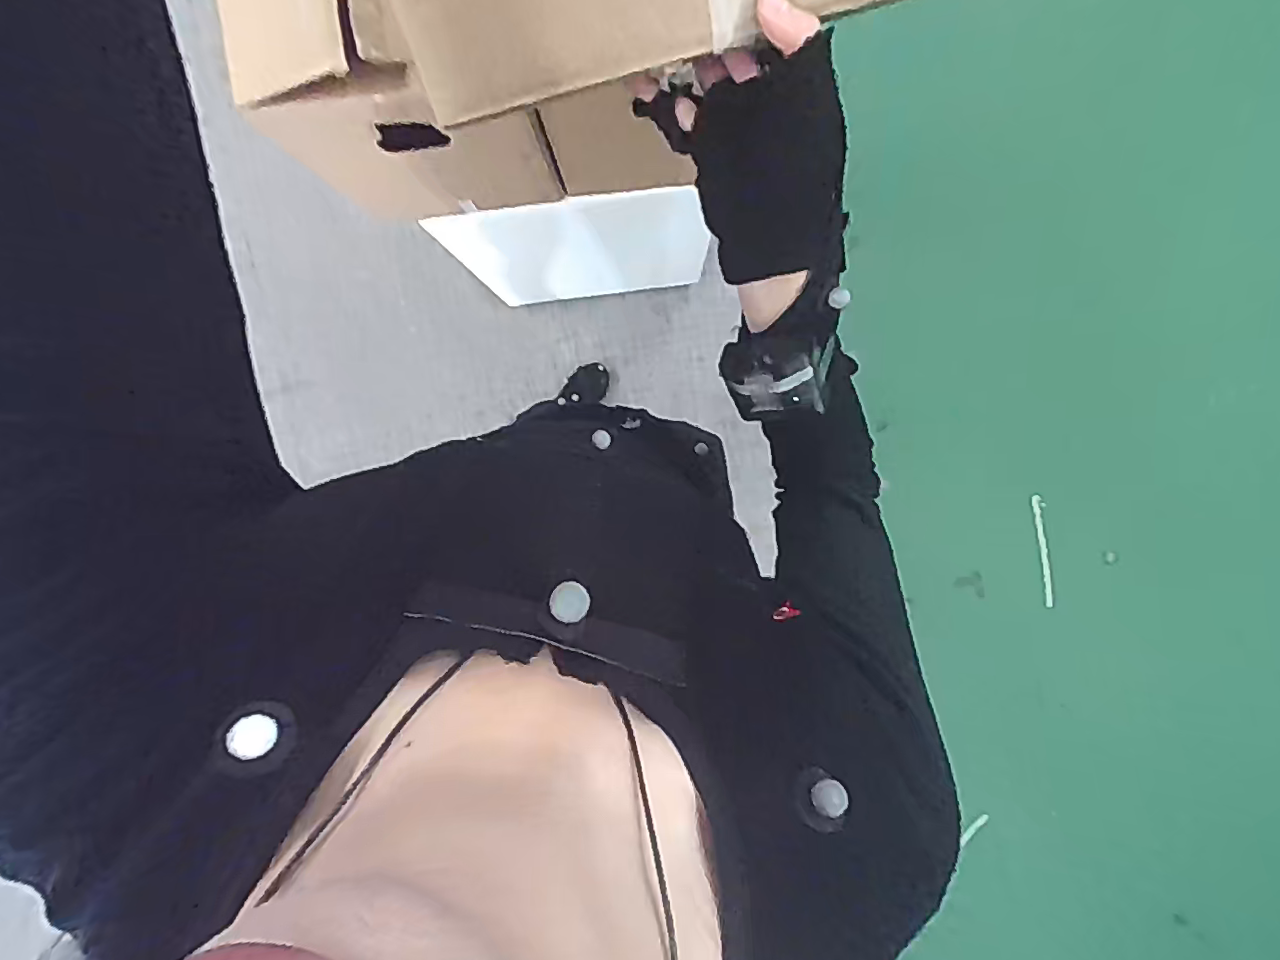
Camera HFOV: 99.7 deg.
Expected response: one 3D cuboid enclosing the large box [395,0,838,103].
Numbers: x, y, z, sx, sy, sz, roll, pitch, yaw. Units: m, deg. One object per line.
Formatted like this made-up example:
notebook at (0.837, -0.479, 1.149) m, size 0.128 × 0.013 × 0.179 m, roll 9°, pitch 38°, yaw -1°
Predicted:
large box at (-0.004, -0.473, 0.276) m, size 0.320 × 0.320 × 0.408 m, roll -10°, pitch 125°, yaw 9°
